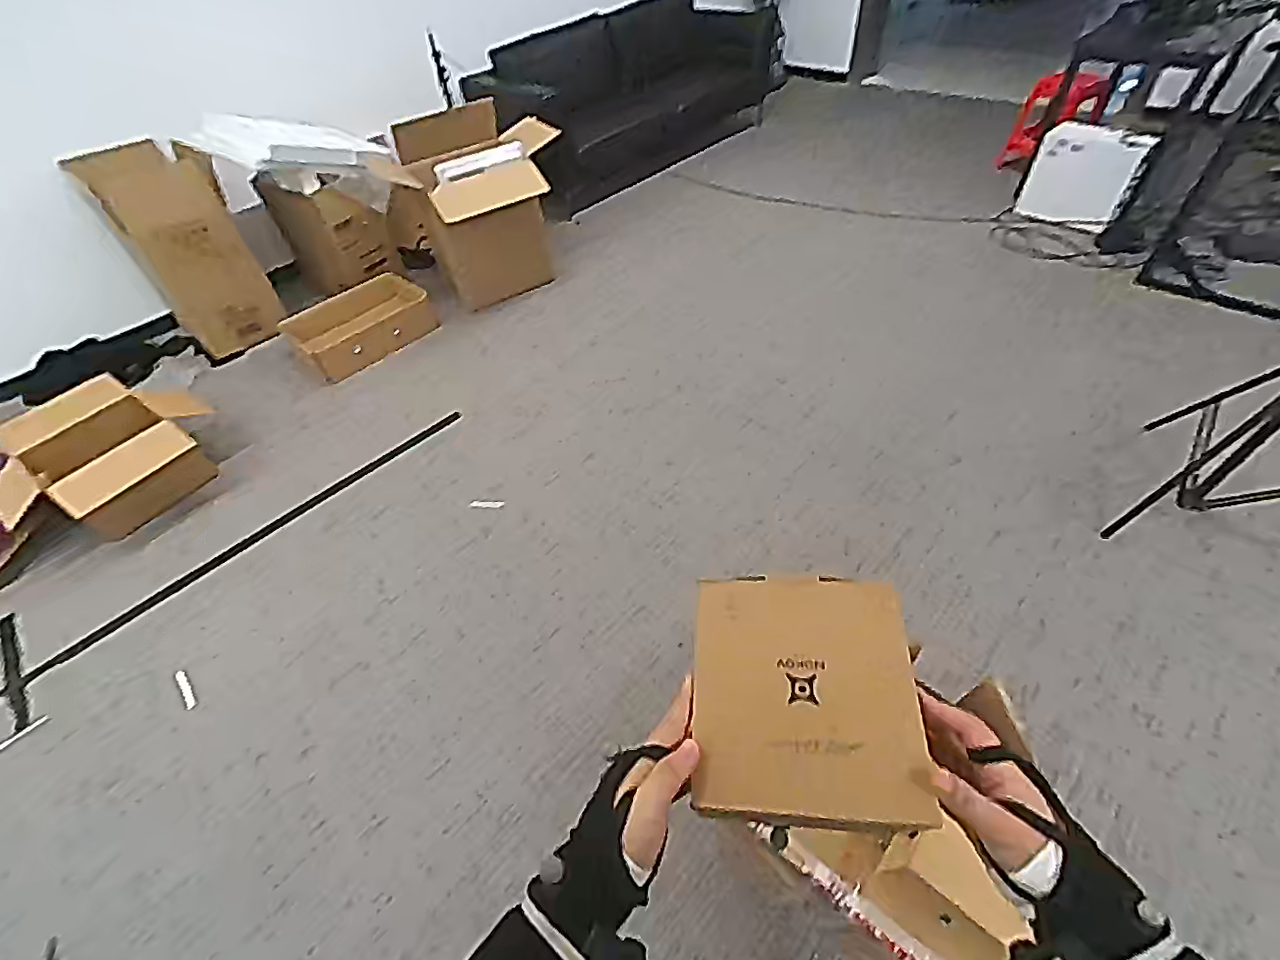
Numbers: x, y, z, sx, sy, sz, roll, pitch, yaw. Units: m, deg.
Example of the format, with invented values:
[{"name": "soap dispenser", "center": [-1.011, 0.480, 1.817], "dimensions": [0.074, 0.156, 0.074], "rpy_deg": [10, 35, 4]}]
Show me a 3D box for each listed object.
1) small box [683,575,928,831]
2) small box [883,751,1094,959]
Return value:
[{"name": "small box", "center": [0.127, 0.200, 0.481], "dimensions": [0.168, 0.176, 0.179], "rpy_deg": [-1, 56, 8]}, {"name": "small box", "center": [0.453, 0.513, 0.732], "dimensions": [0.168, 0.176, 0.179], "rpy_deg": [33, 61, 27]}]
